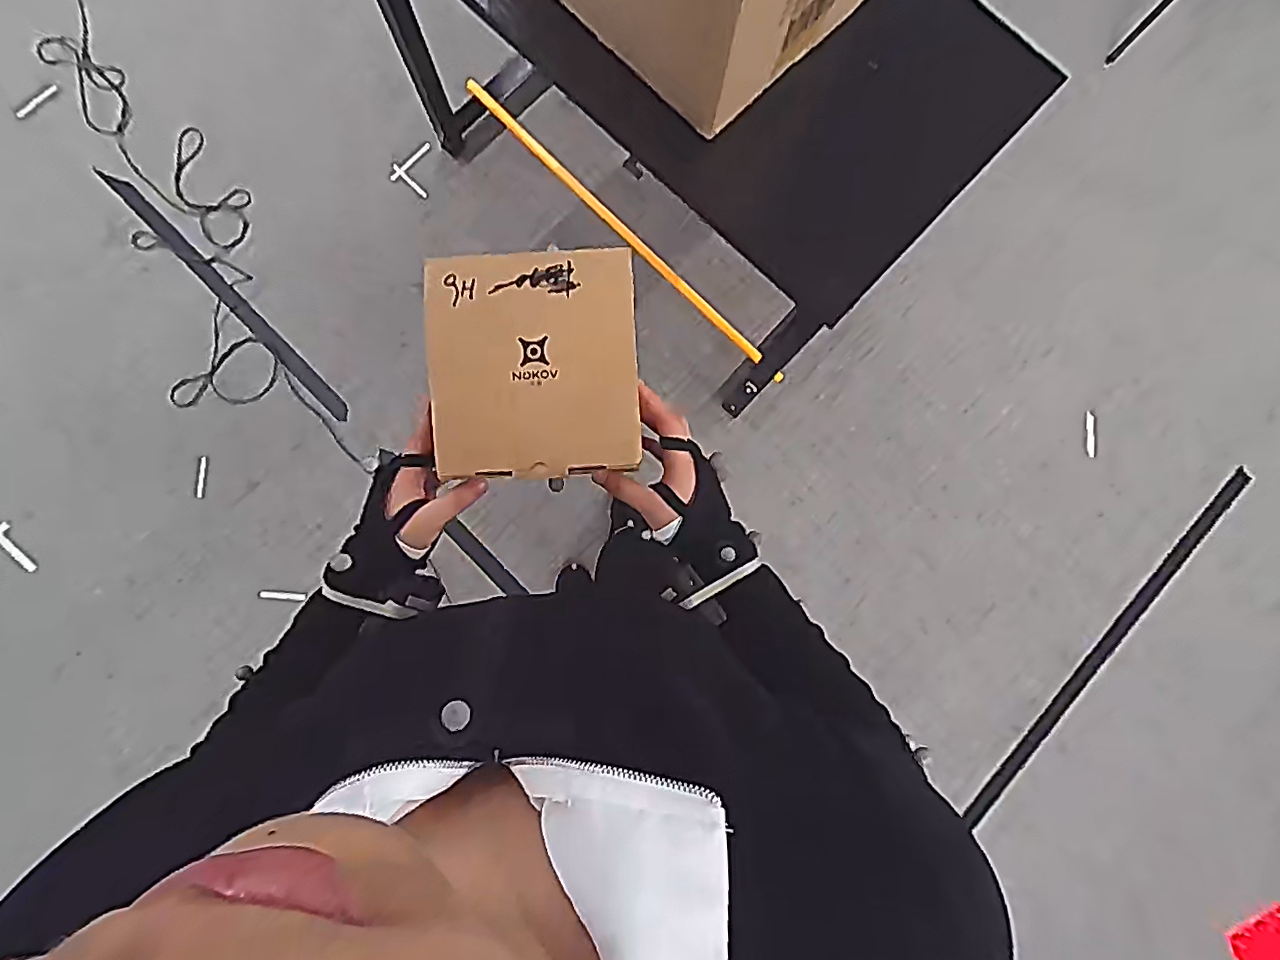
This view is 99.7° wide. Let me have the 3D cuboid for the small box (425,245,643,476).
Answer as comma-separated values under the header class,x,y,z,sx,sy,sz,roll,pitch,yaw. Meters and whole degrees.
class,x,y,z,sx,sy,sz,roll,pitch,yaw
small box,-0.083,-0.097,0.508,0.168,0.176,0.179,-4,91,0
